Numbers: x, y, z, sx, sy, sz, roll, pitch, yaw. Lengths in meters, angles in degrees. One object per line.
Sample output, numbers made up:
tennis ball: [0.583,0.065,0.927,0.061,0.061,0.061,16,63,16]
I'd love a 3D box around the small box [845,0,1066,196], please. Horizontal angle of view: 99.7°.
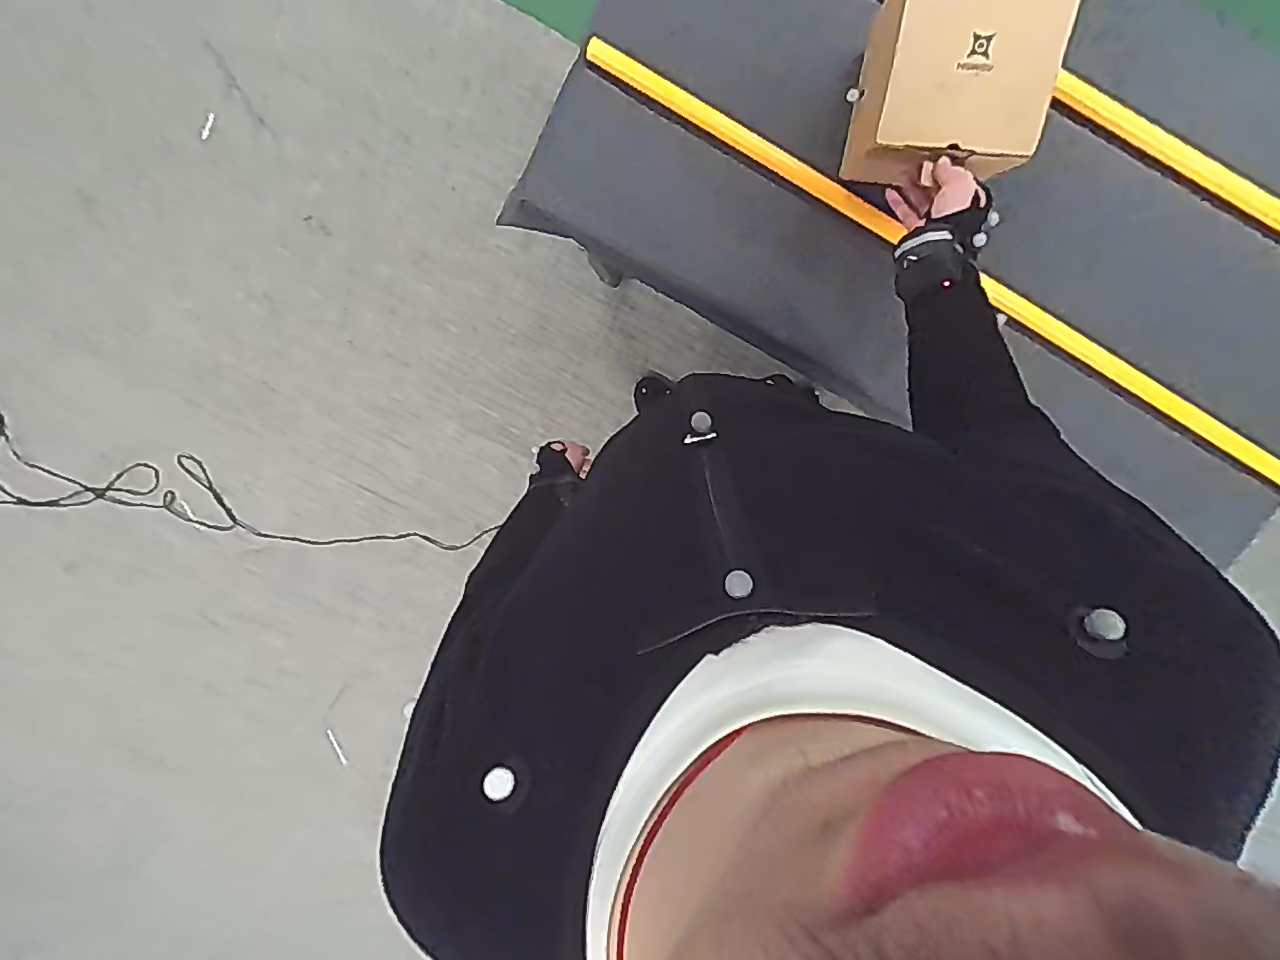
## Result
small box: [0.353,-0.450,0.644,0.168,0.176,0.179,6,107,7]
